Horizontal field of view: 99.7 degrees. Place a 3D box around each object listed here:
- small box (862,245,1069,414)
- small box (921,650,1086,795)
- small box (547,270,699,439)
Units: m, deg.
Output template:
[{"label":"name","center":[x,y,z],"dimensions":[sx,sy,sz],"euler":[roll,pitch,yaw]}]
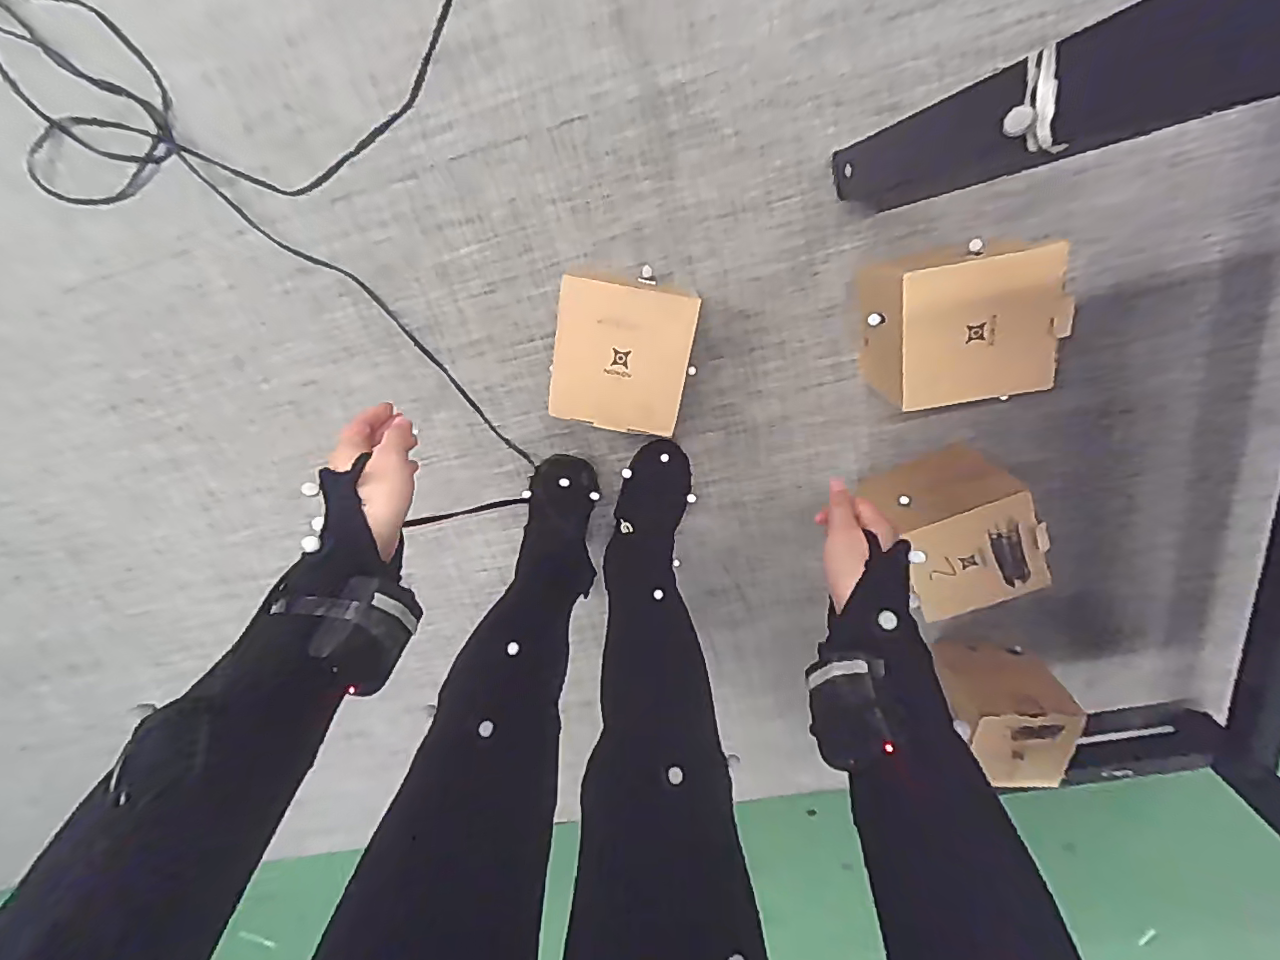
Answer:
[{"label":"small box","center":[0.394,-0.196,0.692],"dimensions":[0.179,0.176,0.168],"euler":[-9,113,7]},{"label":"small box","center":[0.621,0.419,0.953],"dimensions":[0.168,0.176,0.179],"euler":[0,116,4]},{"label":"small box","center":[-0.021,-0.176,0.727],"dimensions":[0.168,0.176,0.179],"euler":[9,113,-2]}]
